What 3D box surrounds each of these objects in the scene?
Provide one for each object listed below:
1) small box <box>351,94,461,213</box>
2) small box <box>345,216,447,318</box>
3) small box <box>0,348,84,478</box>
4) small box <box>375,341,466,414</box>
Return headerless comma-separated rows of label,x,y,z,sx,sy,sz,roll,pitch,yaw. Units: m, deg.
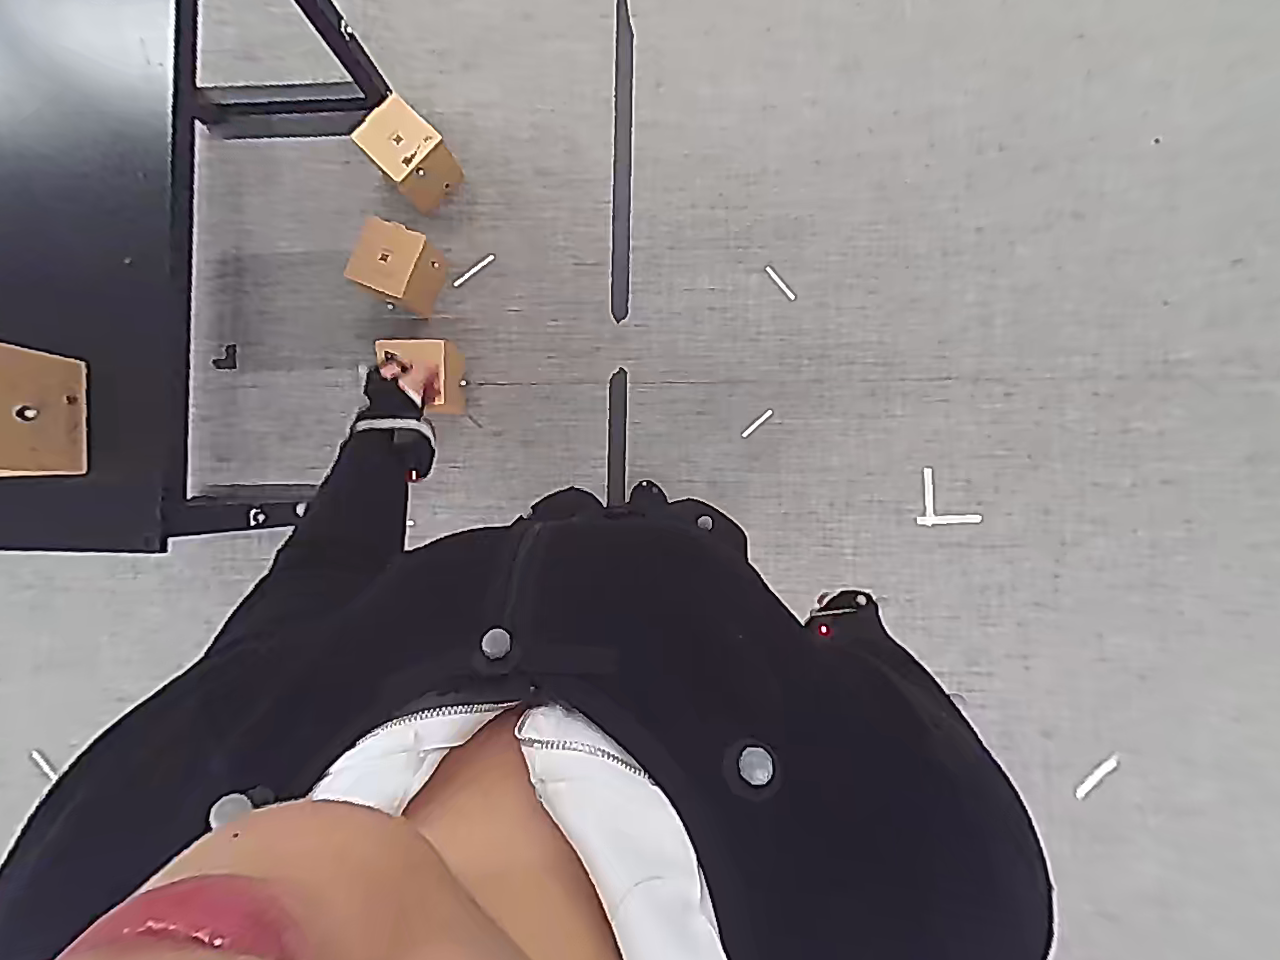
small box,-0.618,-0.865,1.452,0.179,0.176,0.168,44,91,2
small box,-0.644,-0.563,1.450,0.168,0.176,0.179,21,91,2
small box,-0.900,-0.089,0.716,0.179,0.176,0.168,-2,88,2
small box,-0.579,-0.268,1.442,0.179,0.176,0.168,0,89,0
